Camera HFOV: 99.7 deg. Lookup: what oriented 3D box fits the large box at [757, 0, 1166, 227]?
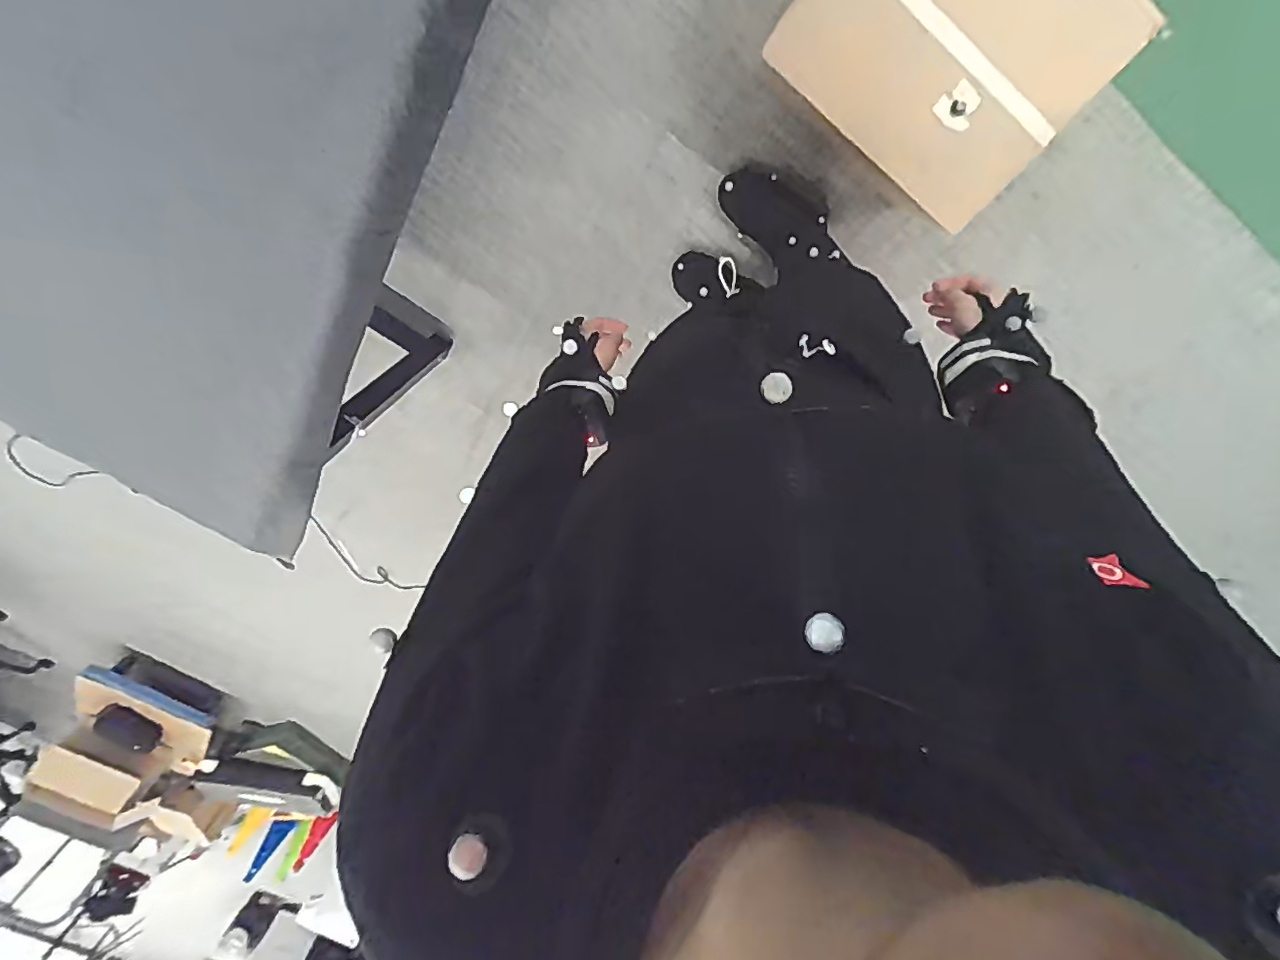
[{"bbox_3d":[0.439,-0.673,0.841,0.408,0.320,0.320,33,123,-13],"label":"large box"}]
